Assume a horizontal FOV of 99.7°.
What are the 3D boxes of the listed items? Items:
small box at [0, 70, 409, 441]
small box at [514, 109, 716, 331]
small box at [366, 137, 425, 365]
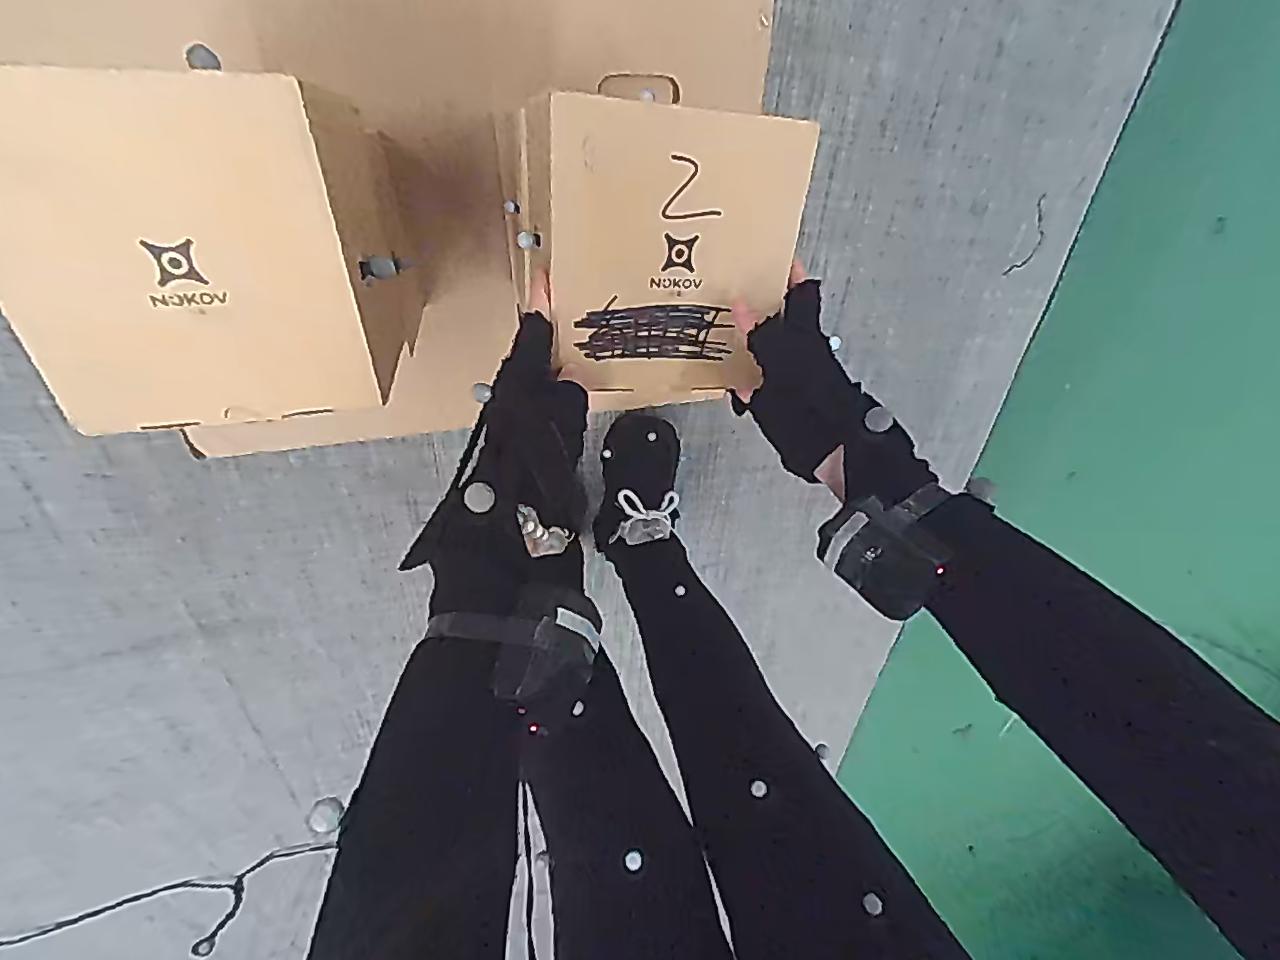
[{"bbox_3d":[-0.258,-0.148,0.352,0.168,0.176,0.179,-8,124,-13],"label":"small box"},{"bbox_3d":[-0.038,-0.263,0.552,0.168,0.176,0.179,-4,123,-14],"label":"small box"},{"bbox_3d":[-0.306,-0.208,0.498,0.168,0.176,0.179,-10,124,-11],"label":"small box"}]
